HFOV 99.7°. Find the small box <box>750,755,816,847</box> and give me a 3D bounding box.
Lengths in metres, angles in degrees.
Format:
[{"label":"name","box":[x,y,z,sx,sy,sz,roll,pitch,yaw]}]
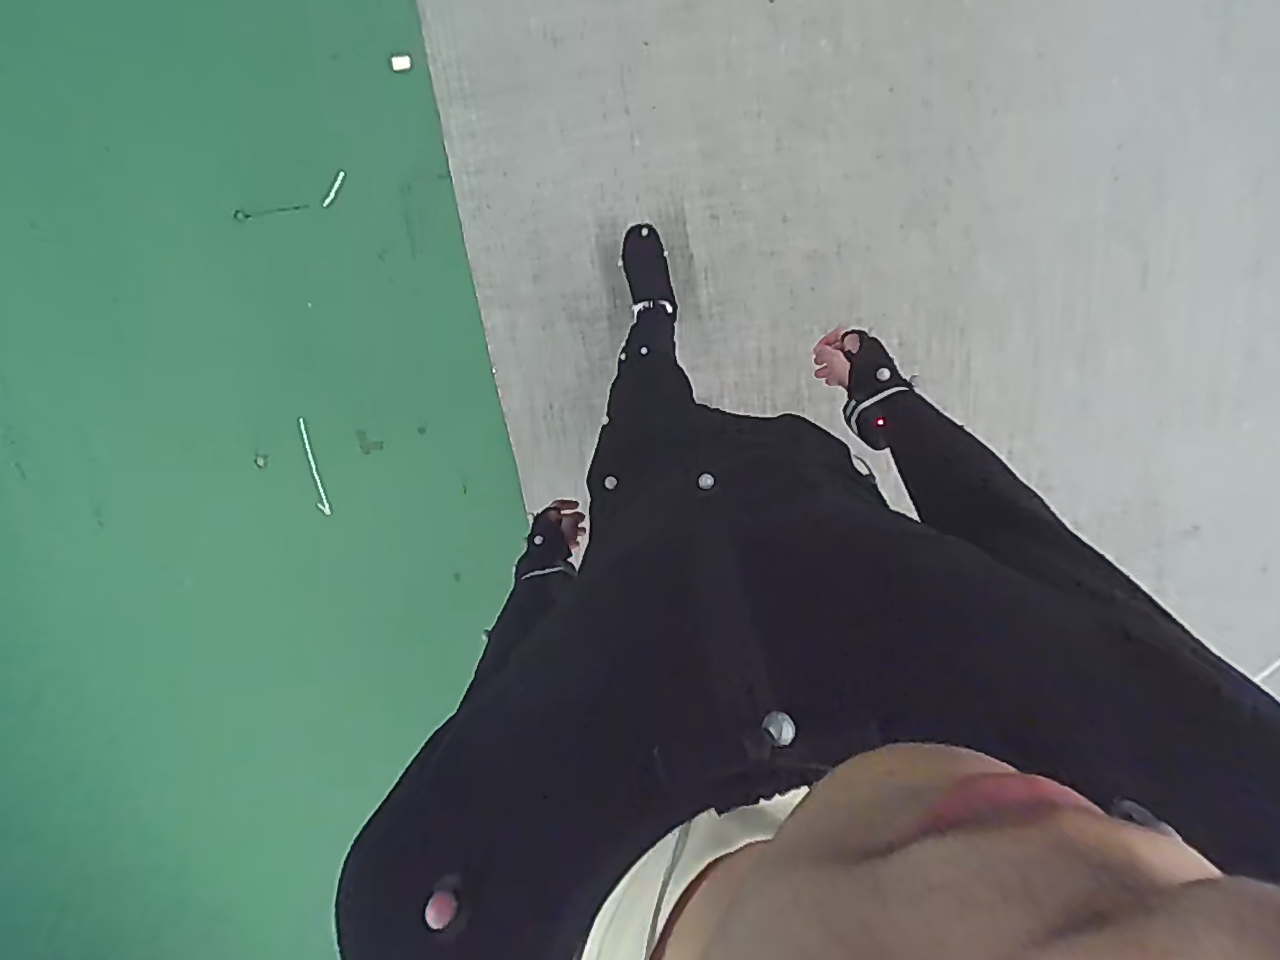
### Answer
[{"label":"small box","box":[0.417,0.937,1.592,0.168,0.176,0.179,-4,105,6]}]
